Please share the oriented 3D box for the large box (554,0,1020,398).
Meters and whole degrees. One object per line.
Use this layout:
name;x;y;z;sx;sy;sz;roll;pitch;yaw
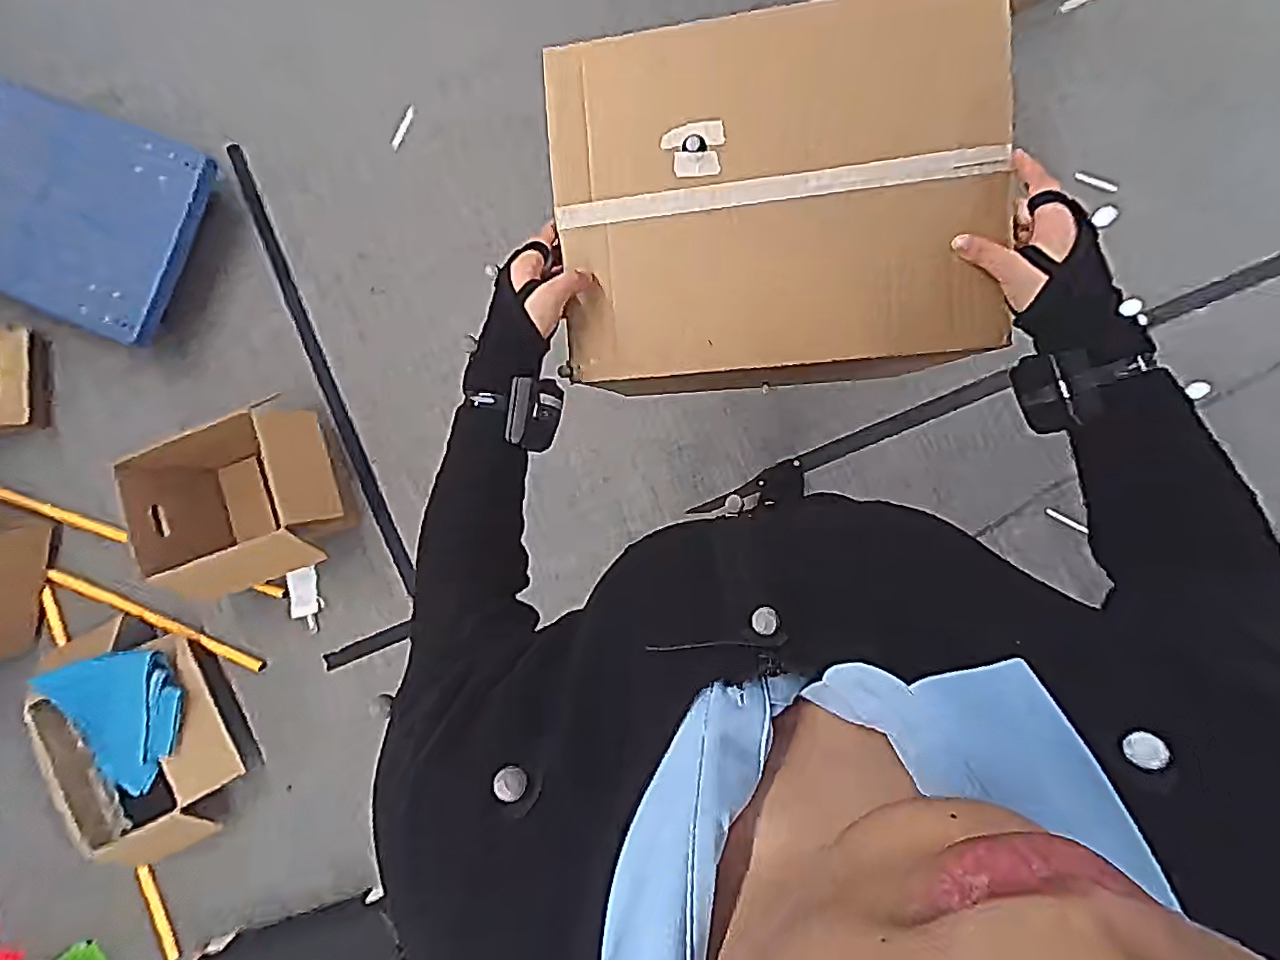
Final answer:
large box;0.150;-0.274;0.637;0.408;0.320;0.320;-3;94;10
